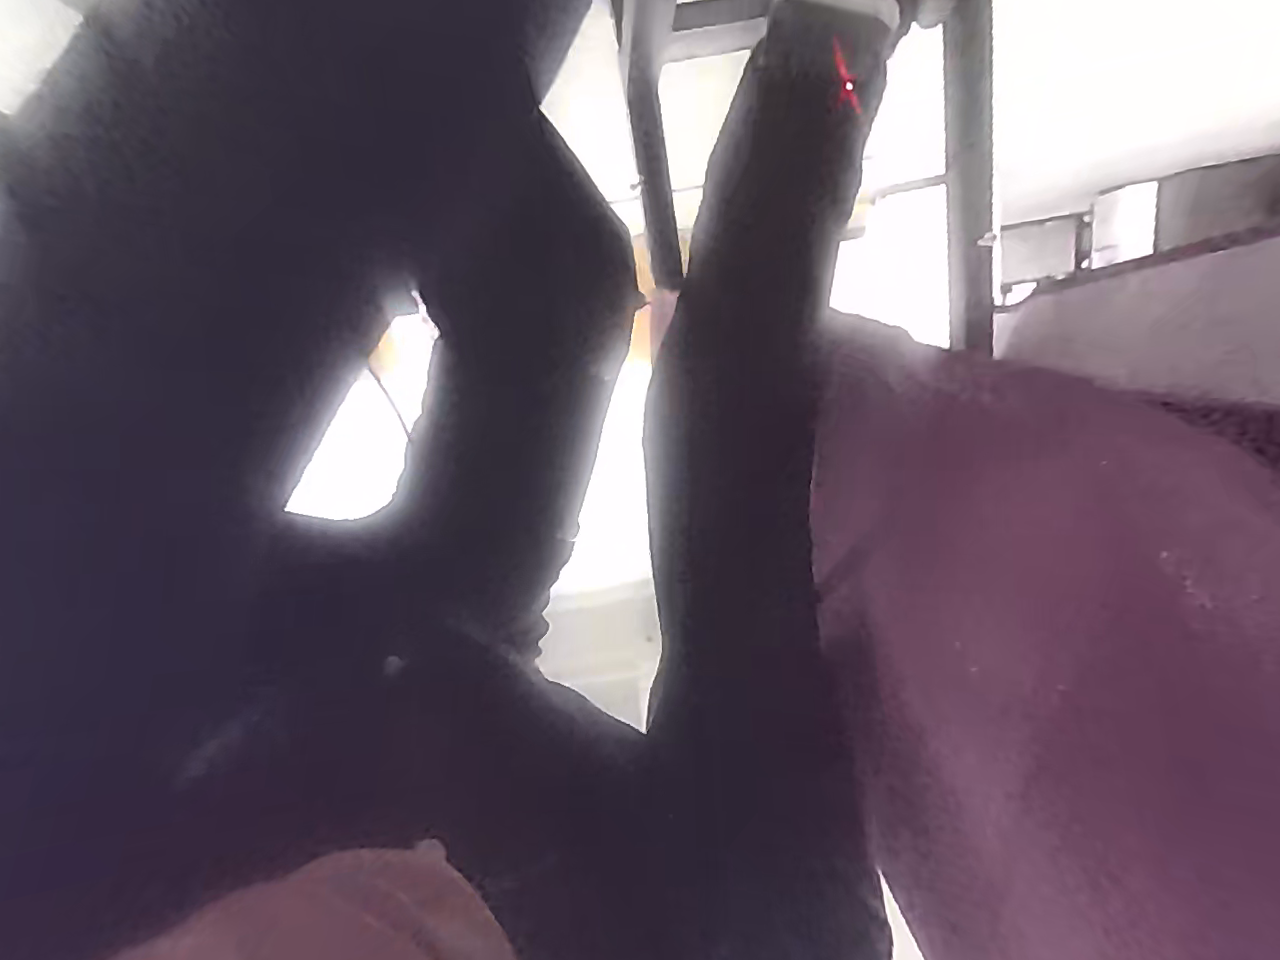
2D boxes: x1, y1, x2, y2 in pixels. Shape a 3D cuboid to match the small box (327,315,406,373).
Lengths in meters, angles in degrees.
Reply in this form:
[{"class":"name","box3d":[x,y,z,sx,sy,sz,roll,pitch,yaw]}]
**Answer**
[{"class":"small box","box3d":[-0.916,-0.463,1.824,0.168,0.176,0.179,-9,-164,-2]}]
